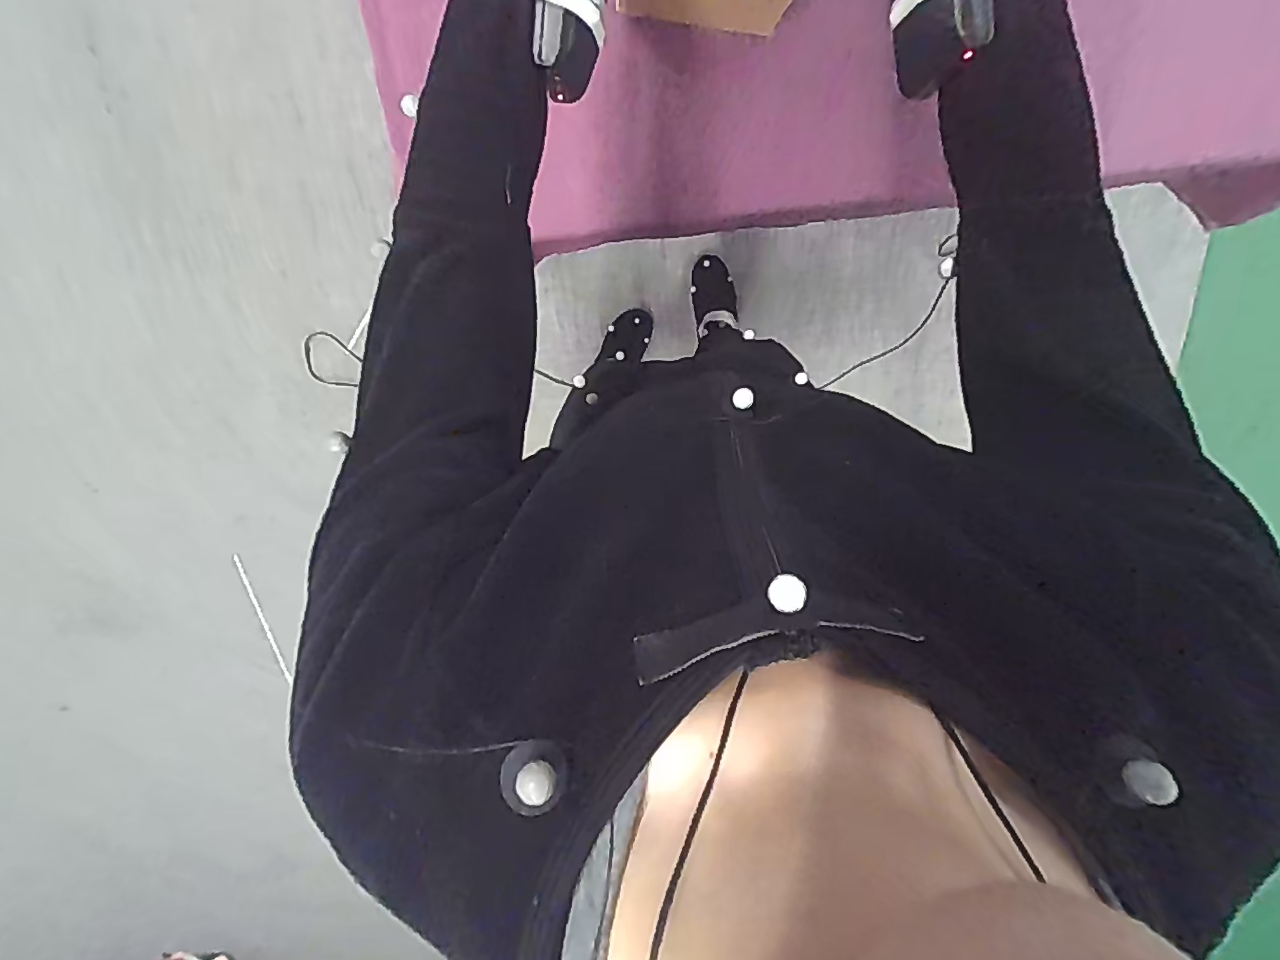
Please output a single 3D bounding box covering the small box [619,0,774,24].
[{"bbox_3d":[0.067,-0.562,0.498,0.179,0.176,0.168,3,109,-6],"label":"small box"}]
